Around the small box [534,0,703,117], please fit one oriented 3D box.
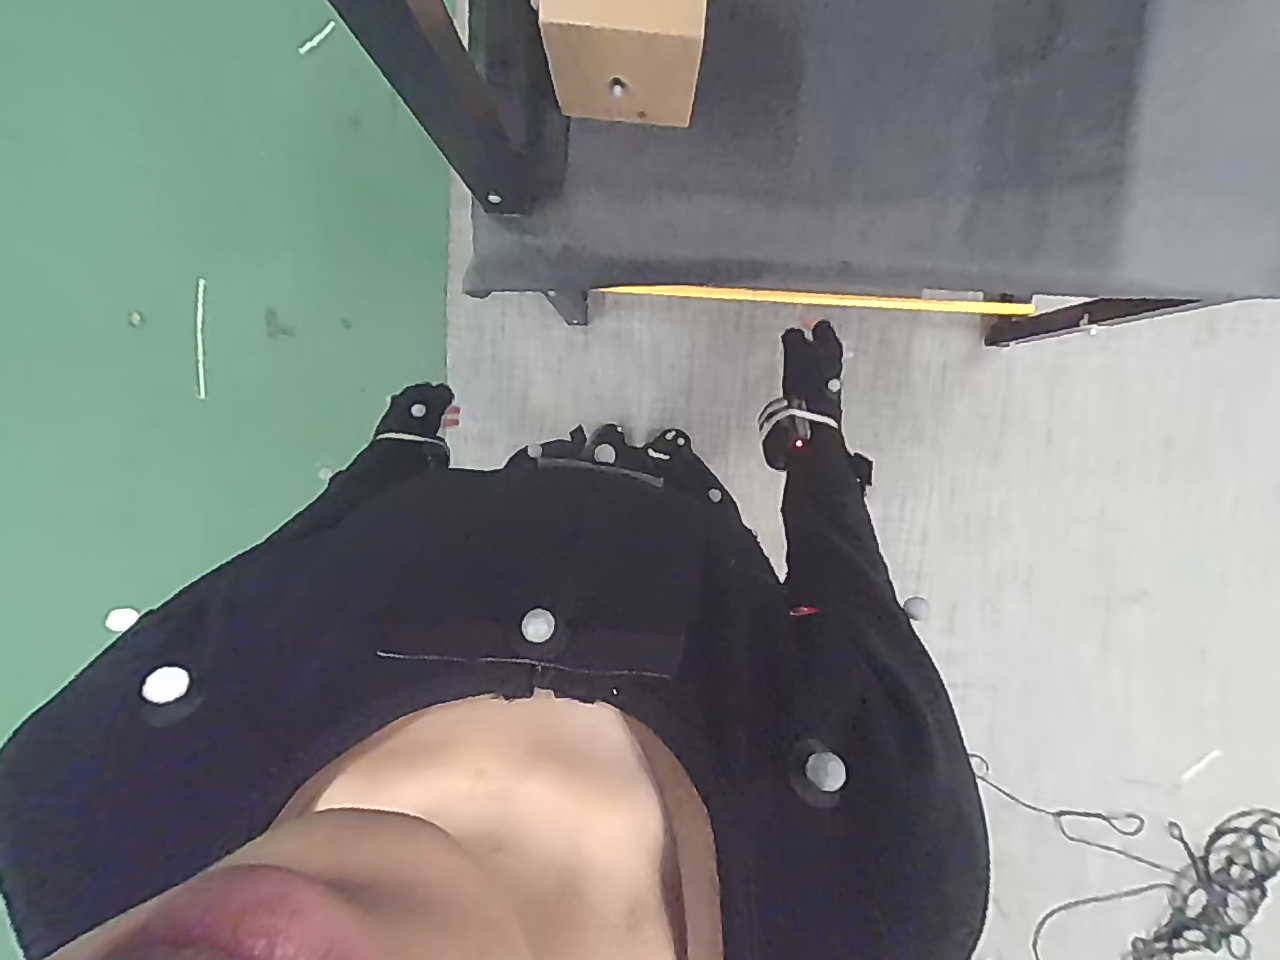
[{"bbox_3d":[-0.014,-0.534,0.591,0.168,0.176,0.179,5,96,-1],"label":"small box"}]
